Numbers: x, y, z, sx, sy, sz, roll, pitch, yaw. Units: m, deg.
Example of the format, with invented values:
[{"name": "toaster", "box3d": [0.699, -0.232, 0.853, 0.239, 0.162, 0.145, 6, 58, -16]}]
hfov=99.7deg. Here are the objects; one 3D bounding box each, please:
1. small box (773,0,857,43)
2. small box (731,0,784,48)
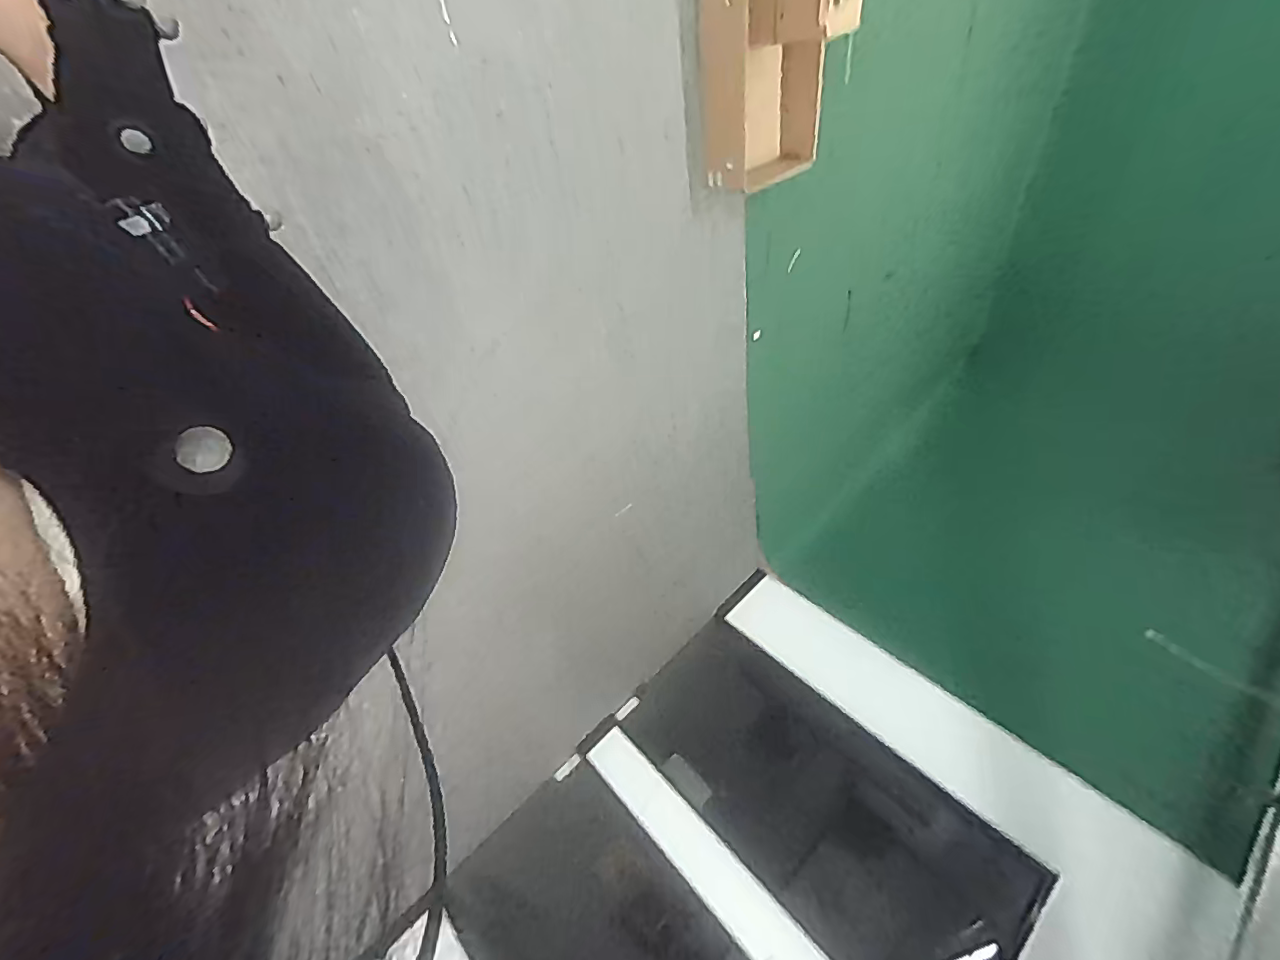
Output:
[{"name": "small box", "box3d": [0.495, -1.356, 1.529, 0.179, 0.176, 0.168, -37, 140, -25]}, {"name": "small box", "box3d": [0.395, -1.431, 1.636, 0.179, 0.176, 0.168, -37, 139, -23]}]
